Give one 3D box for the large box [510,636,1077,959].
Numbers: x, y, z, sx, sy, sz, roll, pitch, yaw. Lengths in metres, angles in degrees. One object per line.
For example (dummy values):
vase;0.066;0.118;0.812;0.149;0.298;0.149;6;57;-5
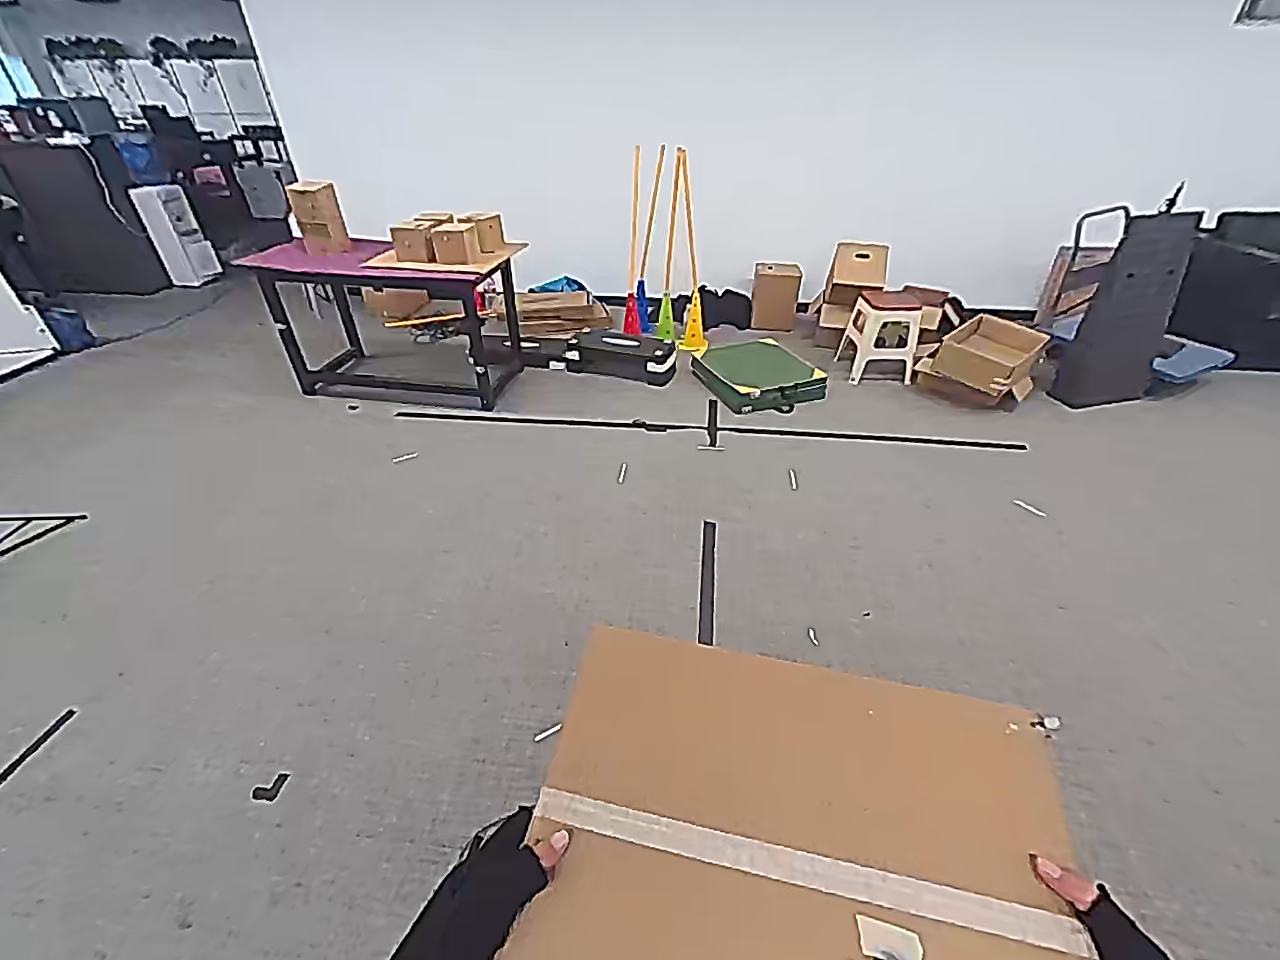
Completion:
large box;0.123;0.394;0.540;0.408;0.320;0.320;9;52;10
